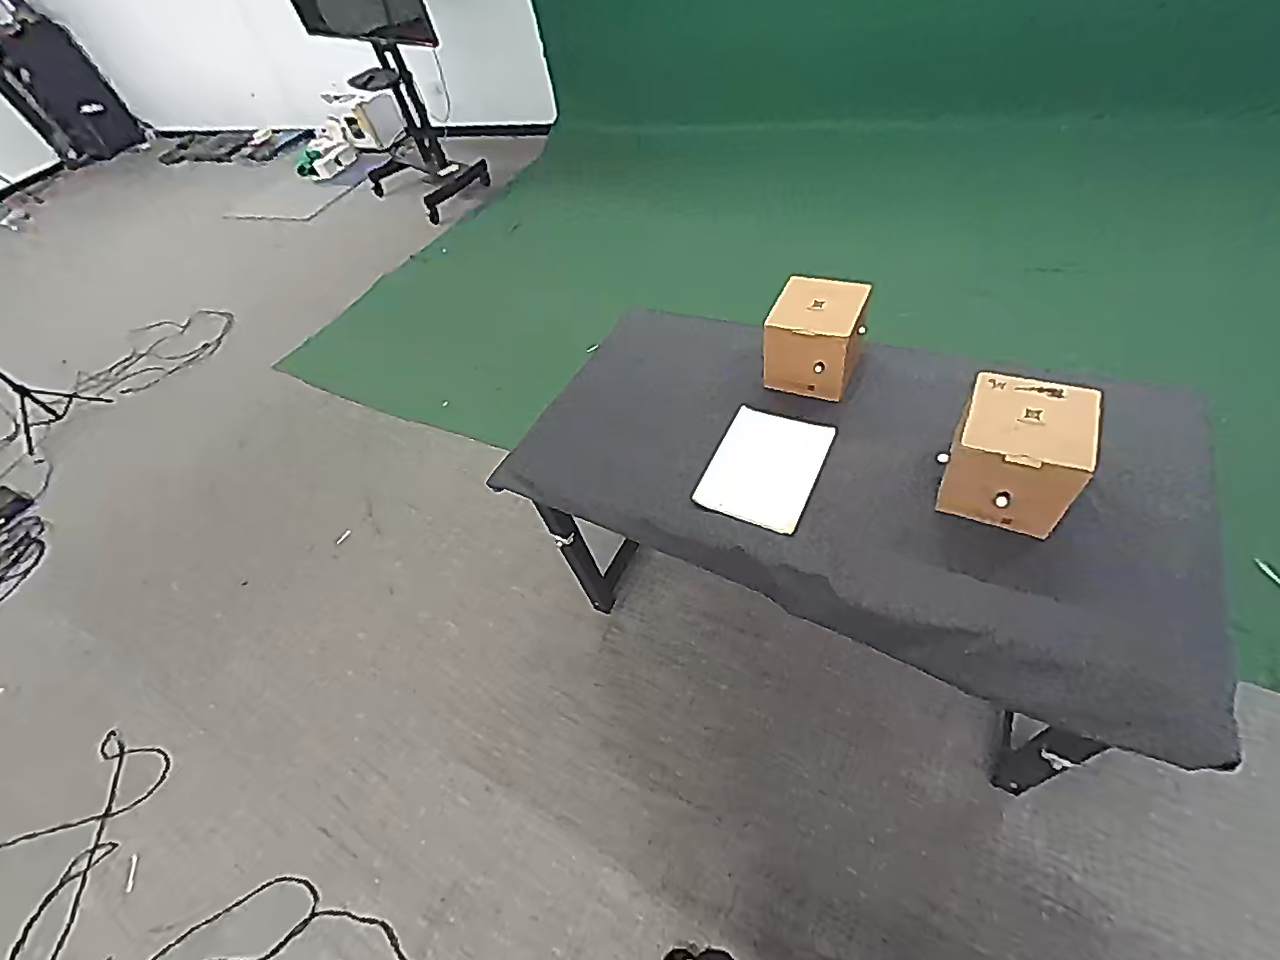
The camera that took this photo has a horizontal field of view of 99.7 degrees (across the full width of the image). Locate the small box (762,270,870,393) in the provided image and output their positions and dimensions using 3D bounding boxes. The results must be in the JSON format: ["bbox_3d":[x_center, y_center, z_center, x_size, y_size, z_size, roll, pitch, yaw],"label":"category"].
[{"bbox_3d":[0.363,-0.306,1.123,0.168,0.176,0.179,17,57,23],"label":"small box"}]

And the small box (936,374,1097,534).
[{"bbox_3d":[0.598,-0.040,0.876,0.168,0.176,0.179,18,59,25],"label":"small box"}]
